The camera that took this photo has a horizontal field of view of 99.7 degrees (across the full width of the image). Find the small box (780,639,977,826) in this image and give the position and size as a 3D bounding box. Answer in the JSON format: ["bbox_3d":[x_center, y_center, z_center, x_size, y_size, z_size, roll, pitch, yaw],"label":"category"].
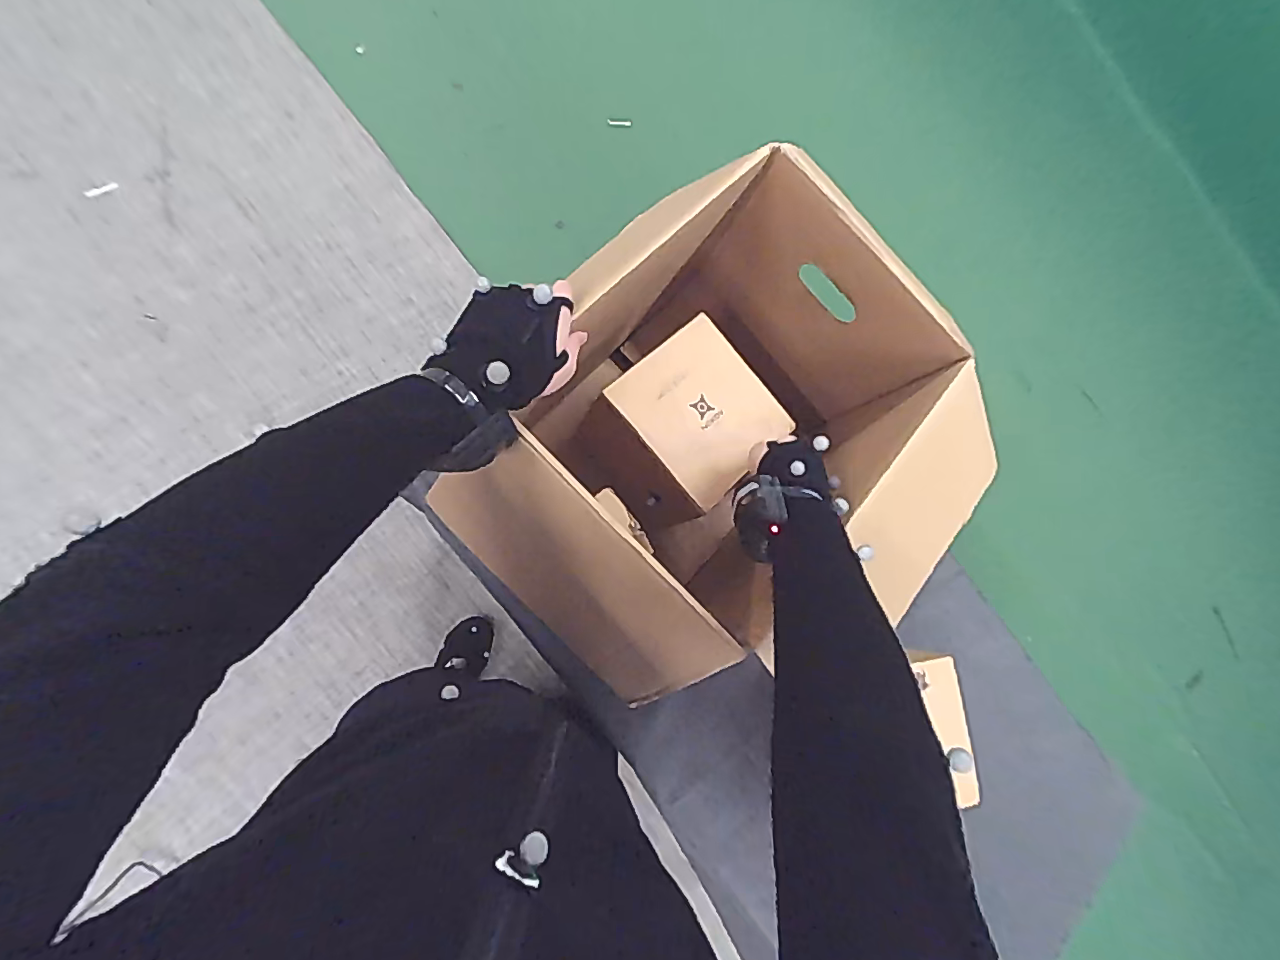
[{"bbox_3d":[0.304,0.319,0.721,0.168,0.176,0.179,-2,81,-14],"label":"small box"}]
